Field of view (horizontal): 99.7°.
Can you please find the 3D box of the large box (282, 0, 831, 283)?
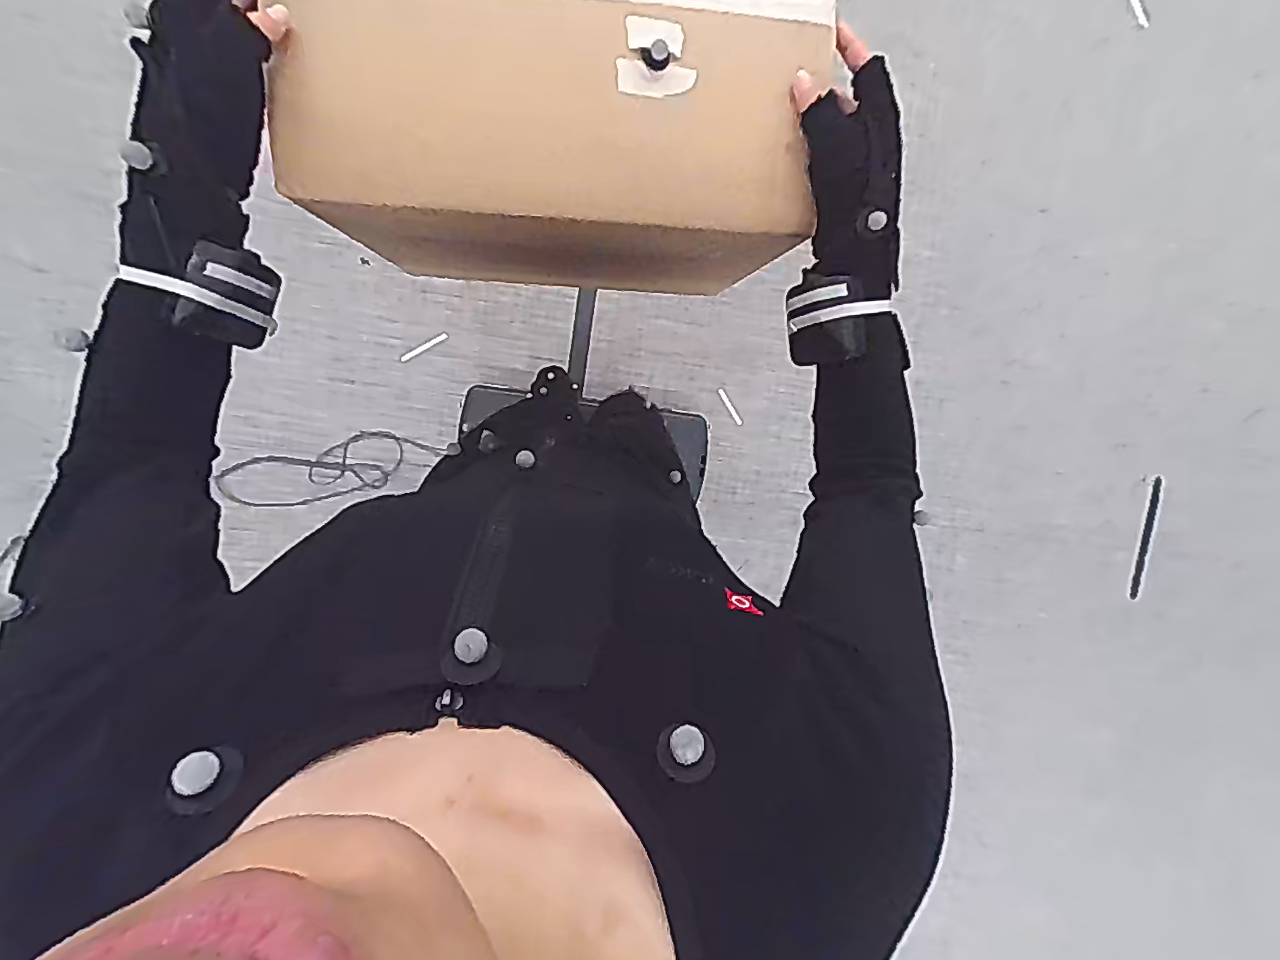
[{"bbox_3d":[-0.070,-0.388,0.536,0.408,0.320,0.320,1,101,-8],"label":"large box"}]
